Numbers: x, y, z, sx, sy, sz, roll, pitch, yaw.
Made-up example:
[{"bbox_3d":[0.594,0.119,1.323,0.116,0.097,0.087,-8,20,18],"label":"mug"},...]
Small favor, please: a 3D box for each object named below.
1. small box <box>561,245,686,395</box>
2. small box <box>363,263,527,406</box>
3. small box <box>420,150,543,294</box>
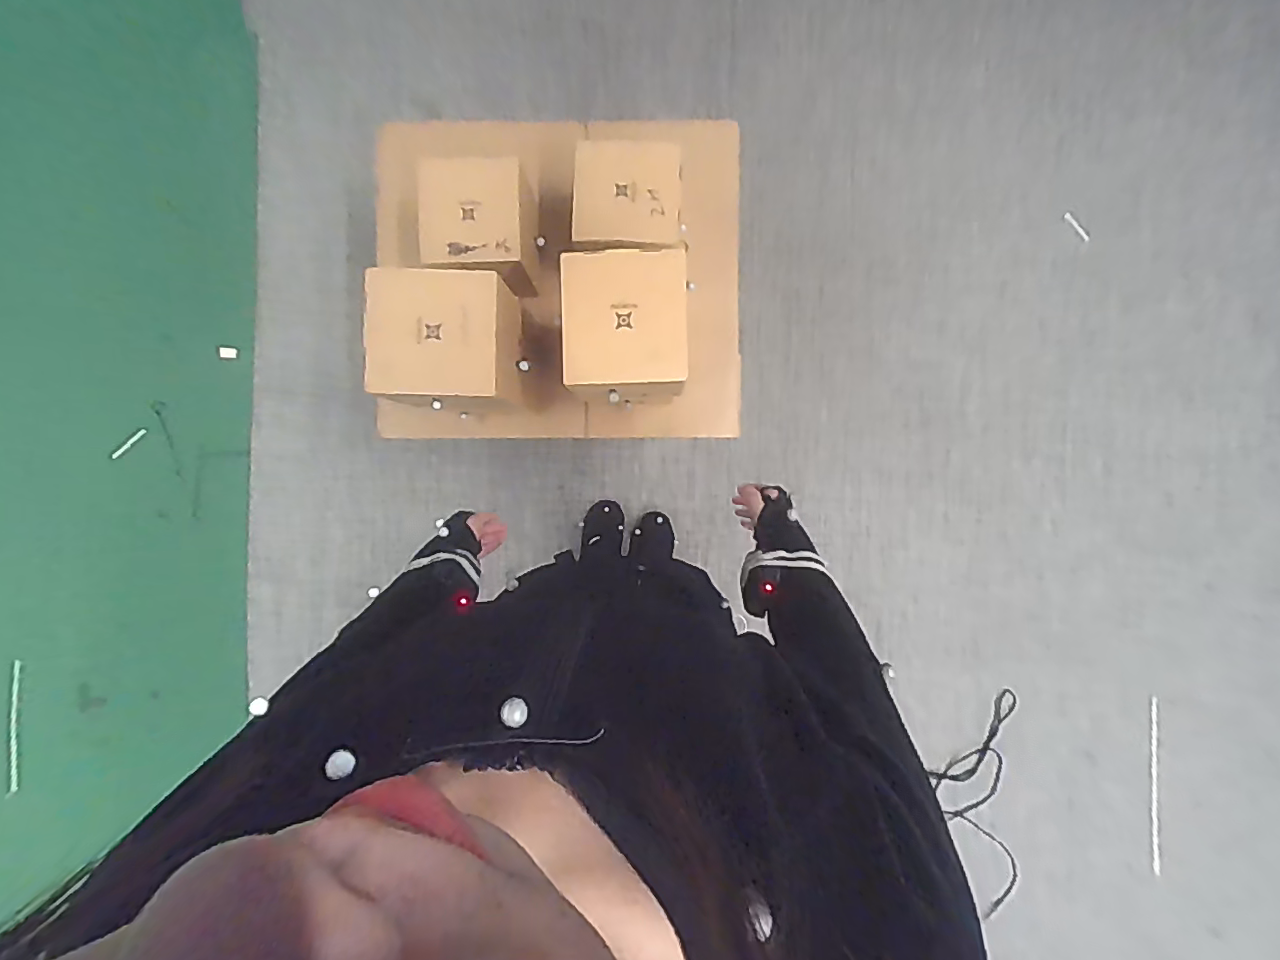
[{"bbox_3d":[-0.018,-0.218,0.783,0.168,0.176,0.179,-1,90,2],"label":"small box"},{"bbox_3d":[-0.273,-0.201,0.788,0.179,0.176,0.168,2,92,0],"label":"small box"},{"bbox_3d":[-0.269,-0.442,0.947,0.168,0.176,0.179,-1,89,2],"label":"small box"}]
